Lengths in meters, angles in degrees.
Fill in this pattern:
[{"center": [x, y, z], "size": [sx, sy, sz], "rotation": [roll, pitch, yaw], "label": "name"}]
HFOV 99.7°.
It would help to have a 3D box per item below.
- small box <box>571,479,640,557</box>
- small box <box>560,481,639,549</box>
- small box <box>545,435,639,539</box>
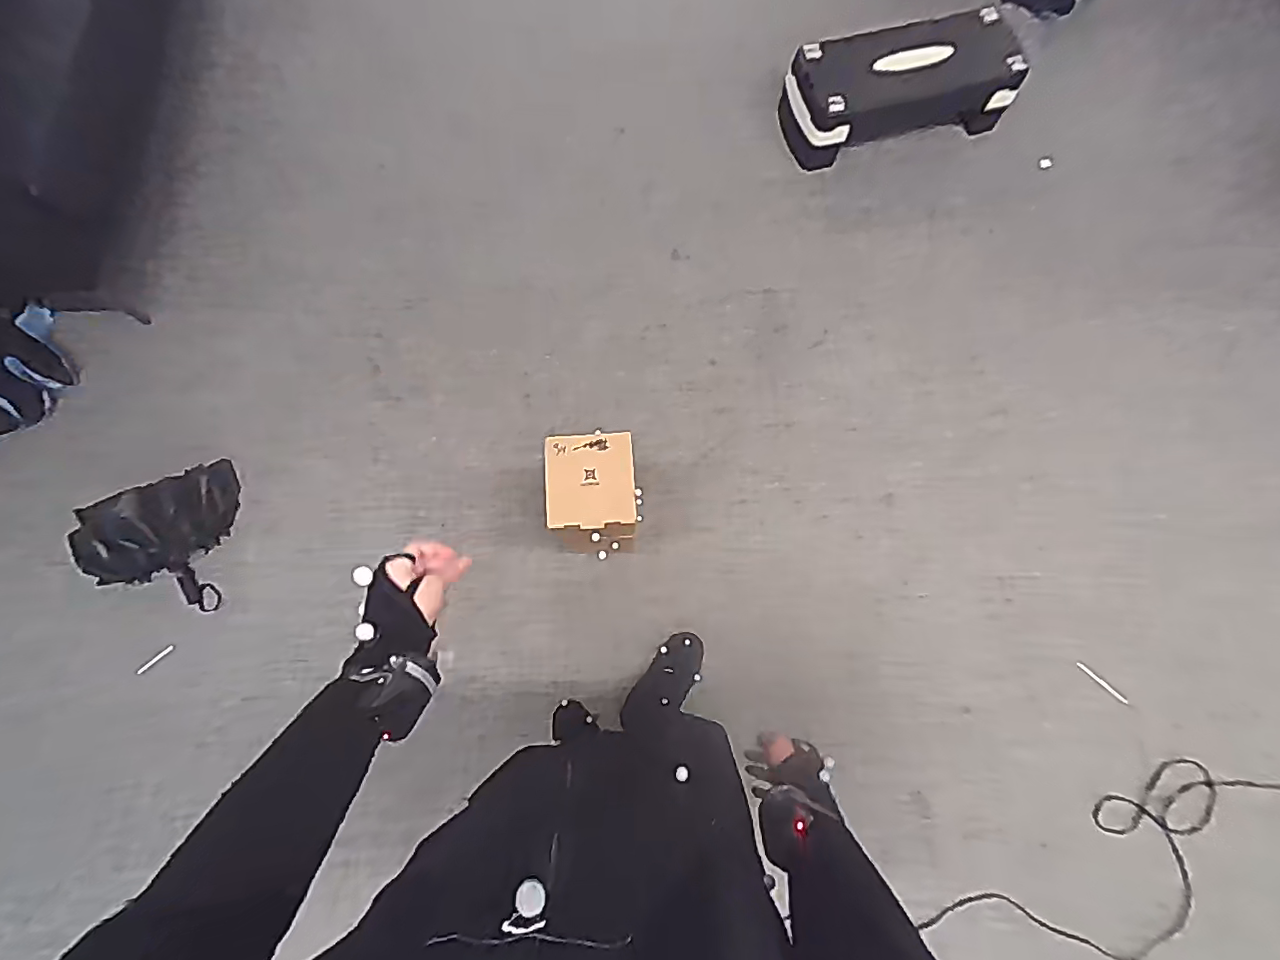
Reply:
[{"center": [-0.085, 0.100, 1.383], "size": [0.168, 0.176, 0.179], "rotation": [-2, 76, 1], "label": "small box"}, {"center": [-0.088, 0.062, 1.226], "size": [0.168, 0.176, 0.179], "rotation": [-3, 75, 0], "label": "small box"}, {"center": [-0.089, 0.023, 1.067], "size": [0.168, 0.176, 0.179], "rotation": [-4, 77, -1], "label": "small box"}]
